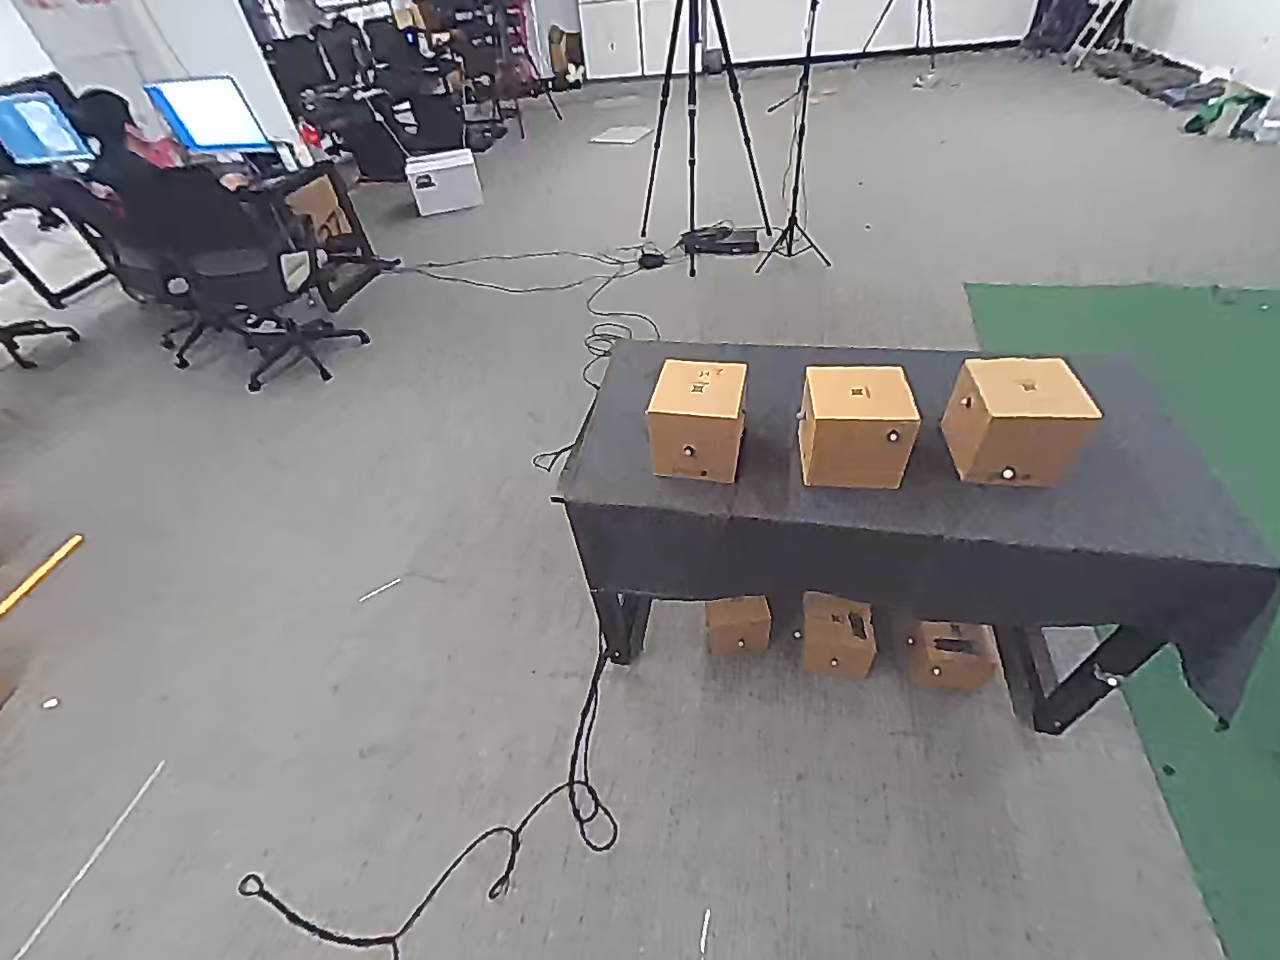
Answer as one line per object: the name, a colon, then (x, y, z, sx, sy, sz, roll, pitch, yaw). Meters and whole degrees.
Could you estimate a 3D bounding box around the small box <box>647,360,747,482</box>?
small box: (0.118, -0.116, 1.076, 0.168, 0.176, 0.179, 7, 46, 13)

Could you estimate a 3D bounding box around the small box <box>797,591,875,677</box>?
small box: (0.539, 0.432, 1.507, 0.179, 0.176, 0.168, 3, 46, 12)

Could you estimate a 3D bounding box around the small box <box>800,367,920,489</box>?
small box: (0.402, -0.097, 1.025, 0.179, 0.176, 0.168, 2, 45, 9)

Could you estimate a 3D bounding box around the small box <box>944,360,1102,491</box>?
small box: (0.683, -0.102, 0.993, 0.168, 0.176, 0.179, 3, 46, 11)
